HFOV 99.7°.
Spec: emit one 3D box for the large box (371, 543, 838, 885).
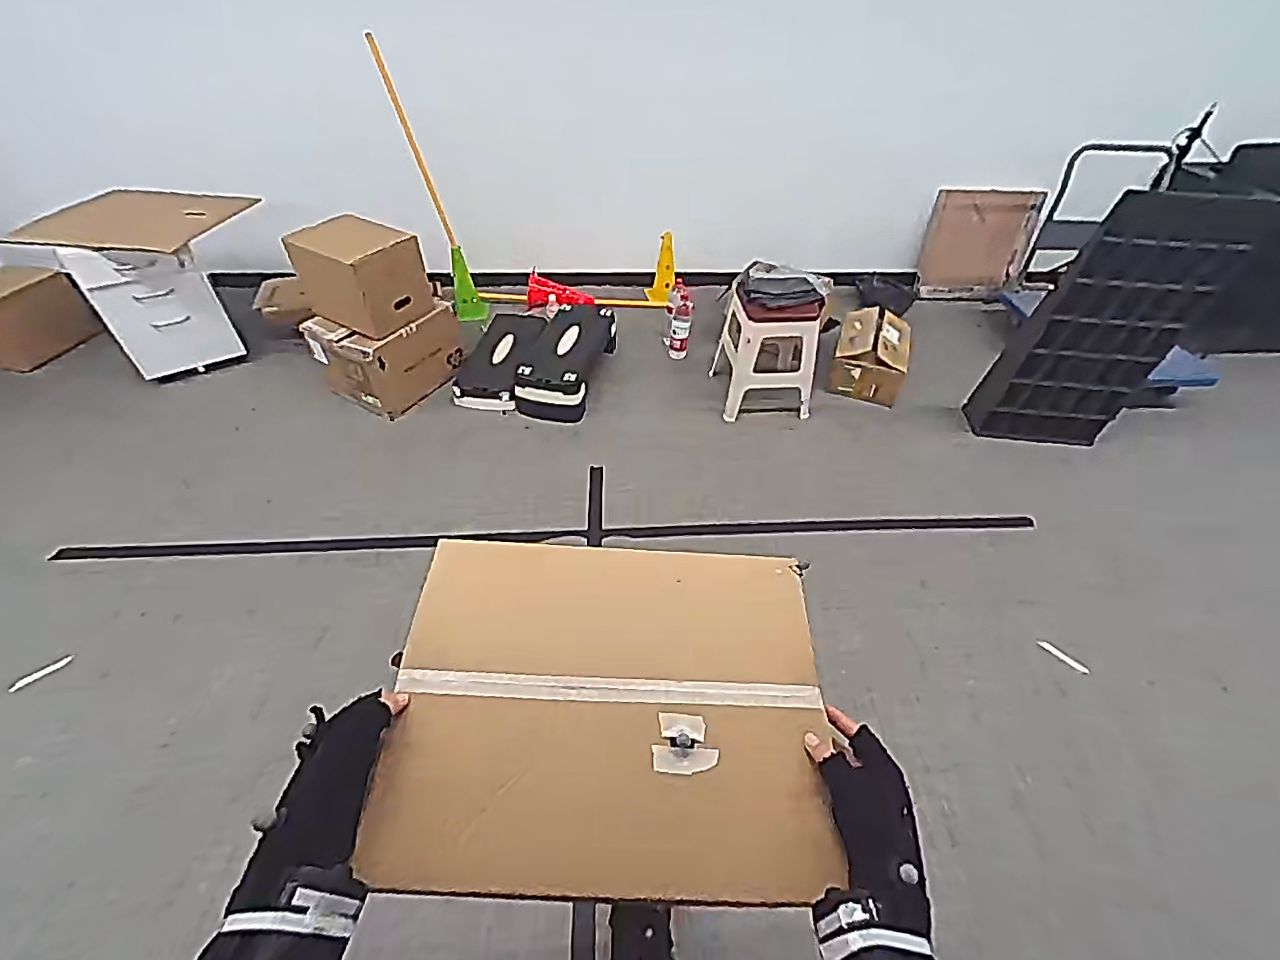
[{"bbox_3d":[-0.035,0.295,0.660,0.408,0.320,0.320,4,53,-2],"label":"large box"}]
